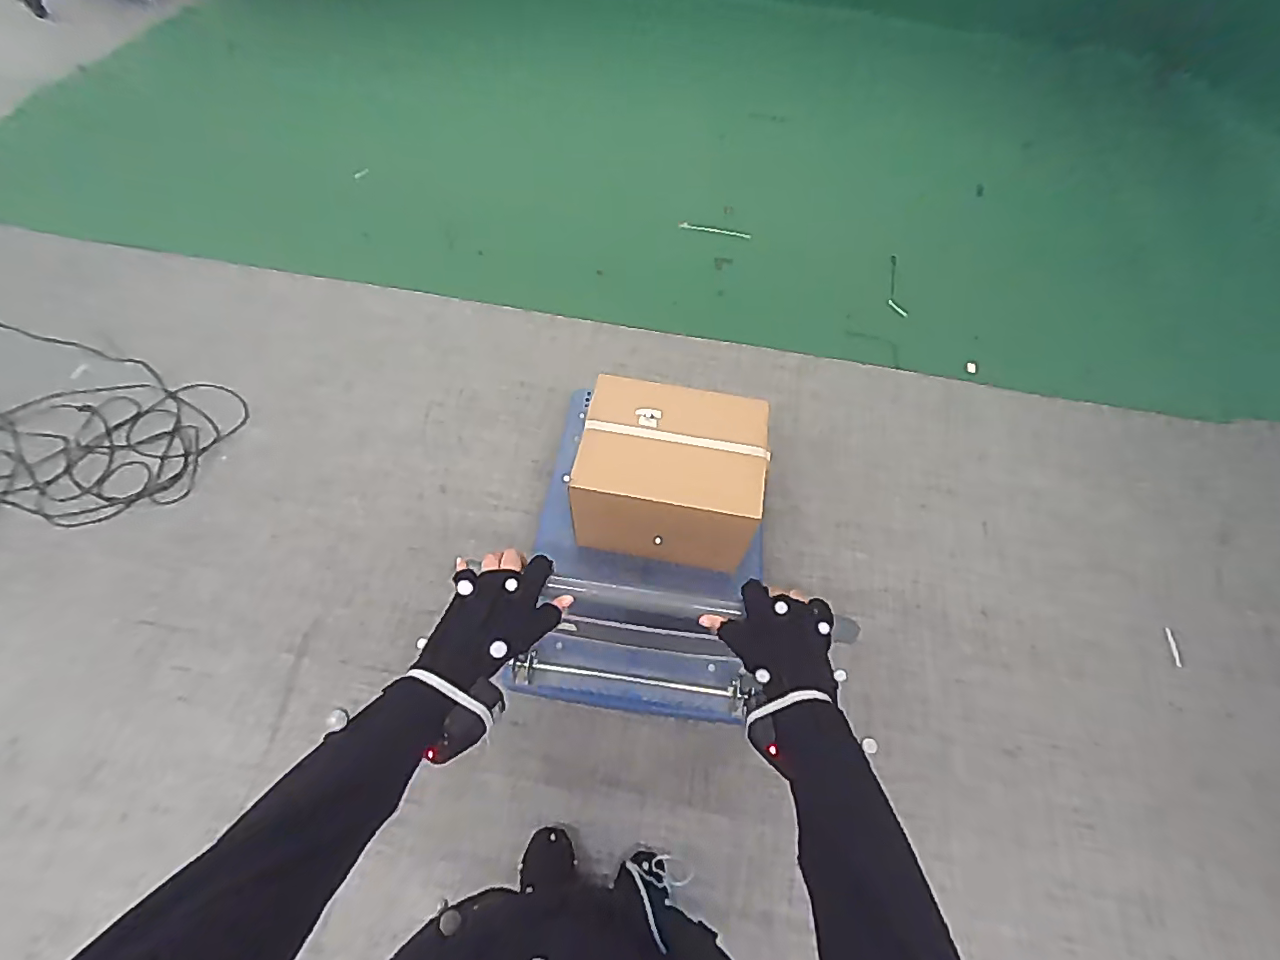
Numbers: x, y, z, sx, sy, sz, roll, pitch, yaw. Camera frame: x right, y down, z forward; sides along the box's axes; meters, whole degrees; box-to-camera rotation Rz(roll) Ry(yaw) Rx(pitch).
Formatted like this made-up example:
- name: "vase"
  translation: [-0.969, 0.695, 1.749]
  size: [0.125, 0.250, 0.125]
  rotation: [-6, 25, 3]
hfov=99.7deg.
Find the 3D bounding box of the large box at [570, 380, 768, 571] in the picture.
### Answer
- name: "large box"
  translation: [0.072, 0.000, 1.306]
  size: [0.408, 0.320, 0.320]
  rotation: [10, 59, 4]
